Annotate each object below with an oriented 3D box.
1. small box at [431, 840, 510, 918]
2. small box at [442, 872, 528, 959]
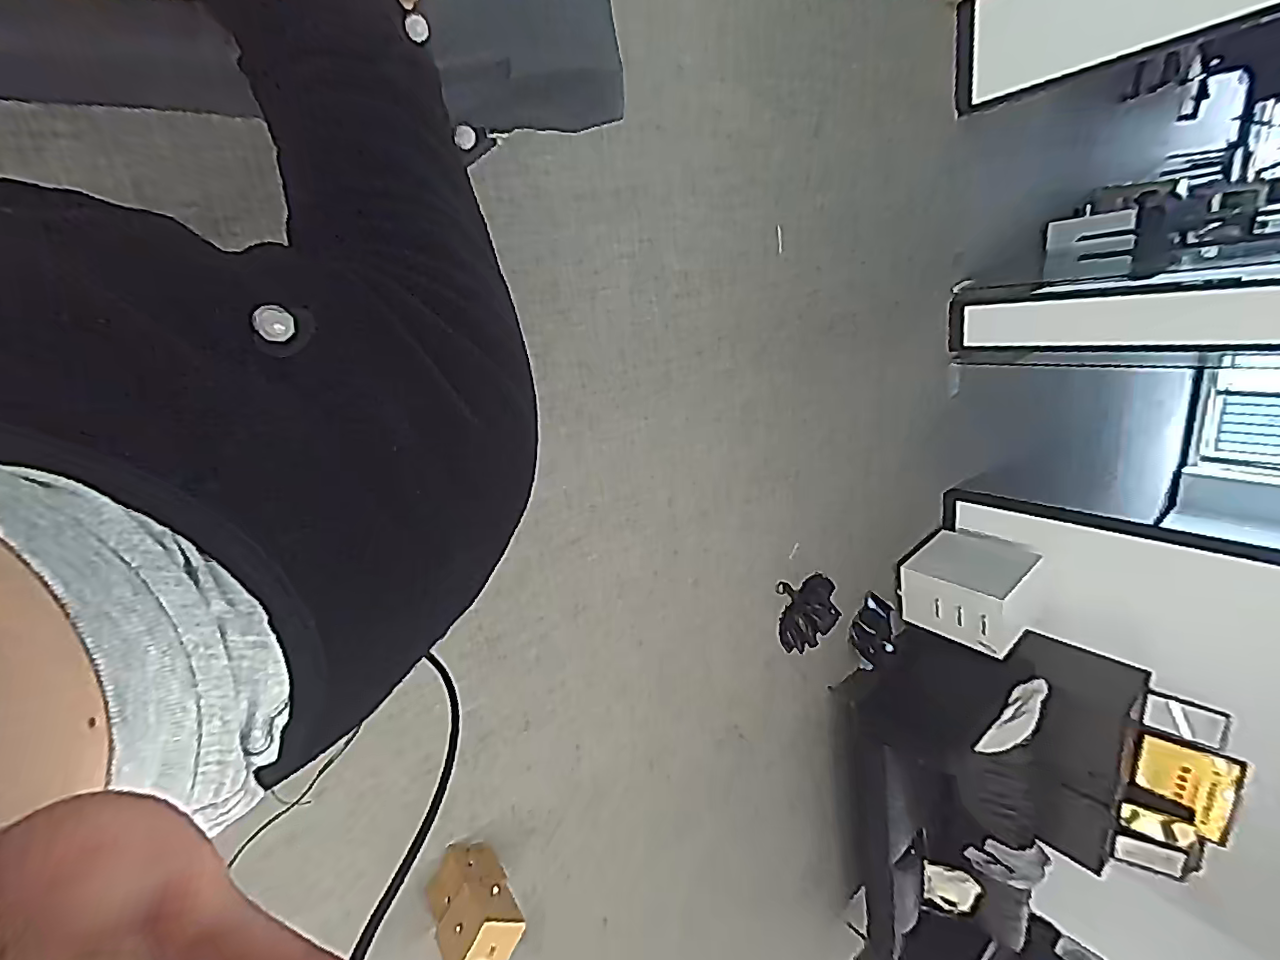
[{"bbox_3d":[-0.568,1.327,1.790,0.168,0.176,0.179,28,84,-38],"label":"small box"},{"bbox_3d":[-0.481,1.347,1.651,0.168,0.176,0.179,38,76,-37],"label":"small box"}]
